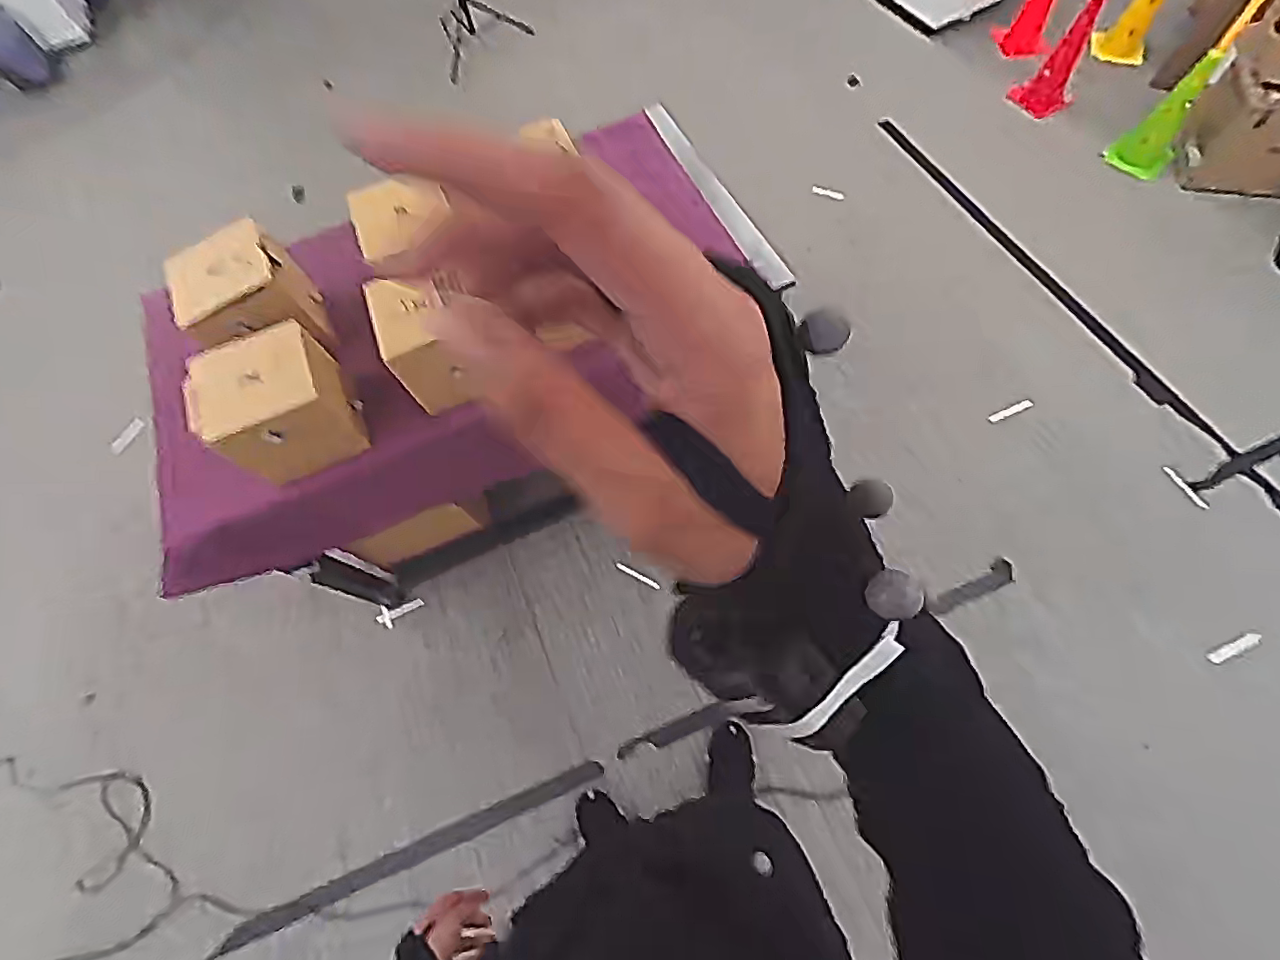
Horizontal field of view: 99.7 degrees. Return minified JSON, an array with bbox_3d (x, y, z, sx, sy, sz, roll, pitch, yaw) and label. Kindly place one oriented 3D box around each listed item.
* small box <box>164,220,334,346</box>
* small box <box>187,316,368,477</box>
[{"bbox_3d":[-0.700,-0.323,0.980,0.179,0.176,0.168,-26,69,-7],"label":"small box"},{"bbox_3d":[-0.588,-0.128,0.891,0.179,0.176,0.168,-24,68,-7],"label":"small box"}]
